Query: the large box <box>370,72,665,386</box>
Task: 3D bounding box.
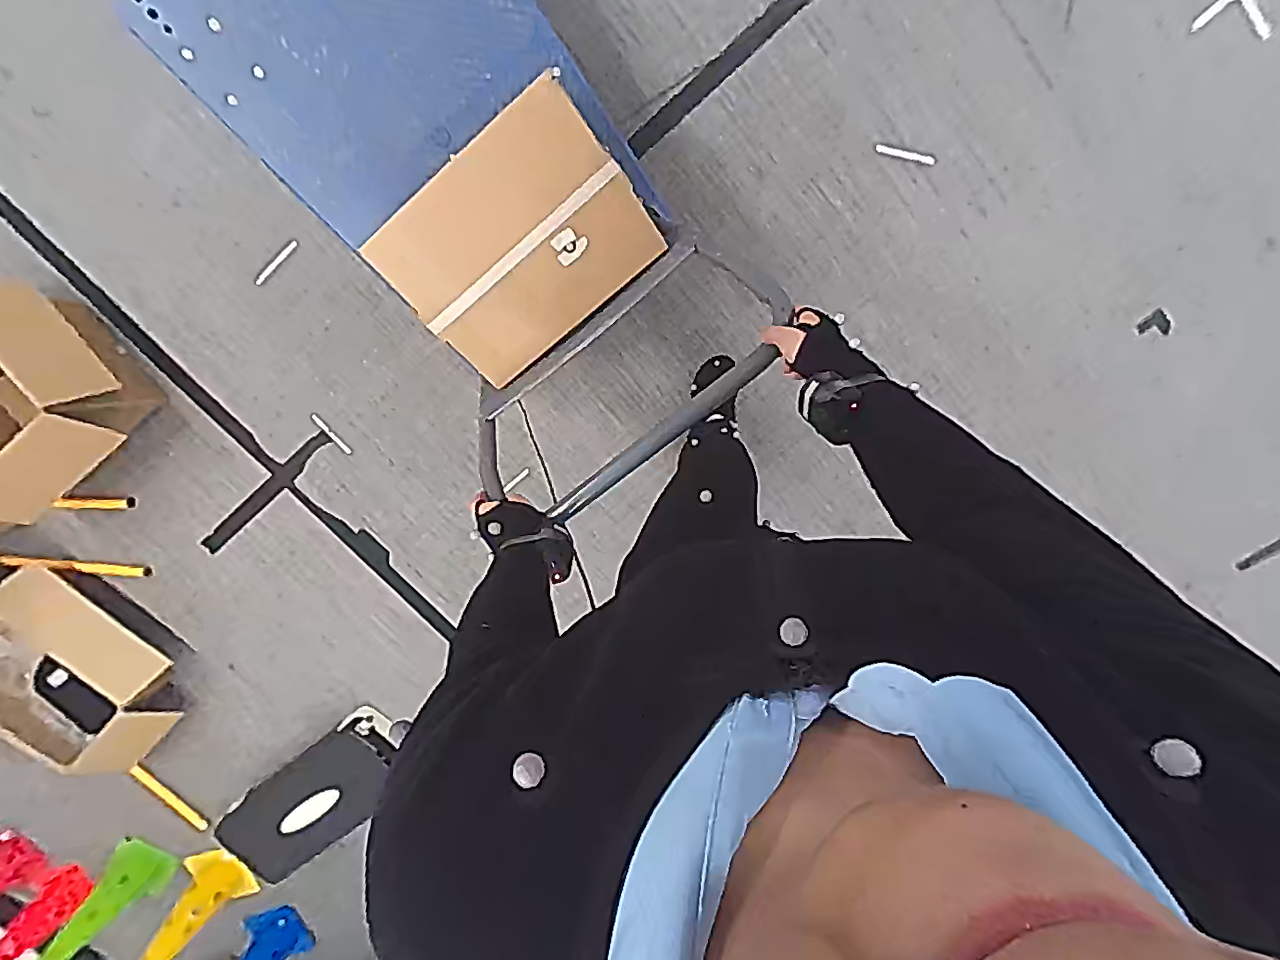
[{"bbox_3d":[-0.226,-0.460,1.034,0.408,0.320,0.320,-38,121,9],"label":"large box"}]
